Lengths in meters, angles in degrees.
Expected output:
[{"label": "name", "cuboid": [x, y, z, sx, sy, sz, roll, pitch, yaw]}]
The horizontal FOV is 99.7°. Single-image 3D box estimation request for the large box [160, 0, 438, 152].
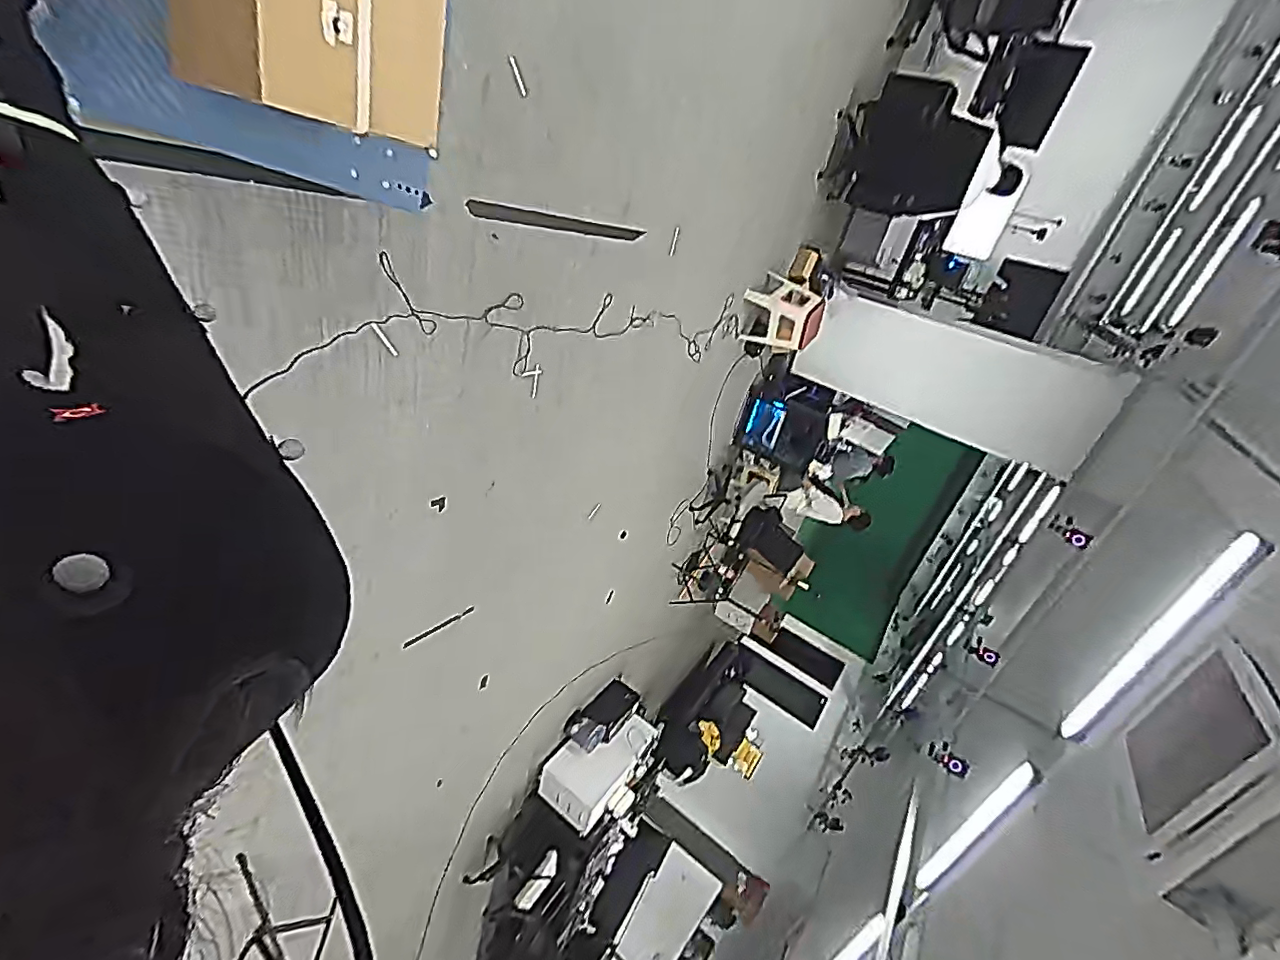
[{"label": "large box", "cuboid": [-0.570, -0.845, 0.914, 0.320, 0.320, 0.408, -24, 137, -53]}]
